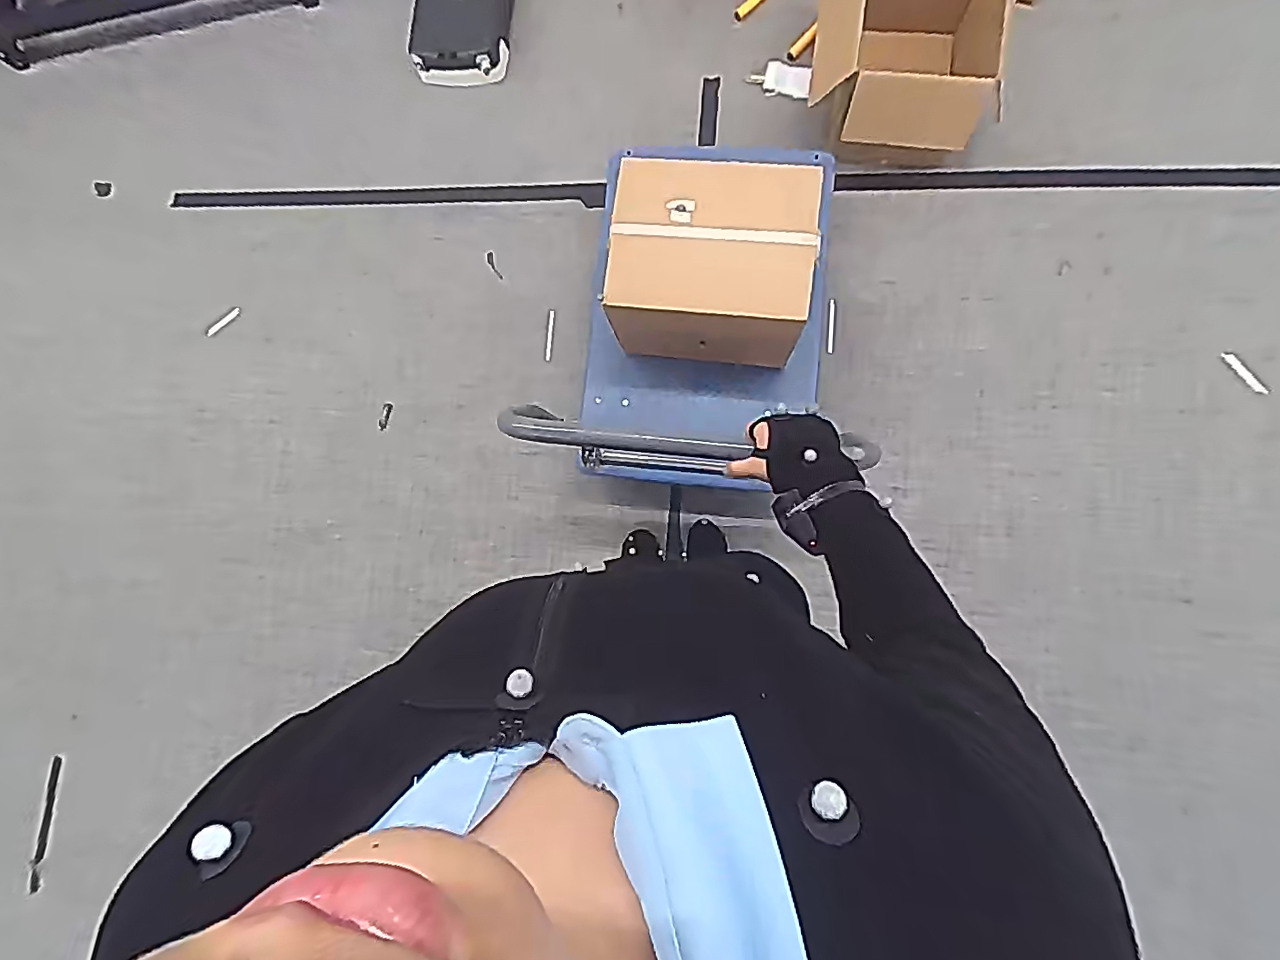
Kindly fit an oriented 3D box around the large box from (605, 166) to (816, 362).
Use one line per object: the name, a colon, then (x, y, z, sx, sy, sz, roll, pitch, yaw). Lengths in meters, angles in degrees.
large box: (0.160, -0.469, 1.227, 0.408, 0.320, 0.320, 6, 85, 8)
